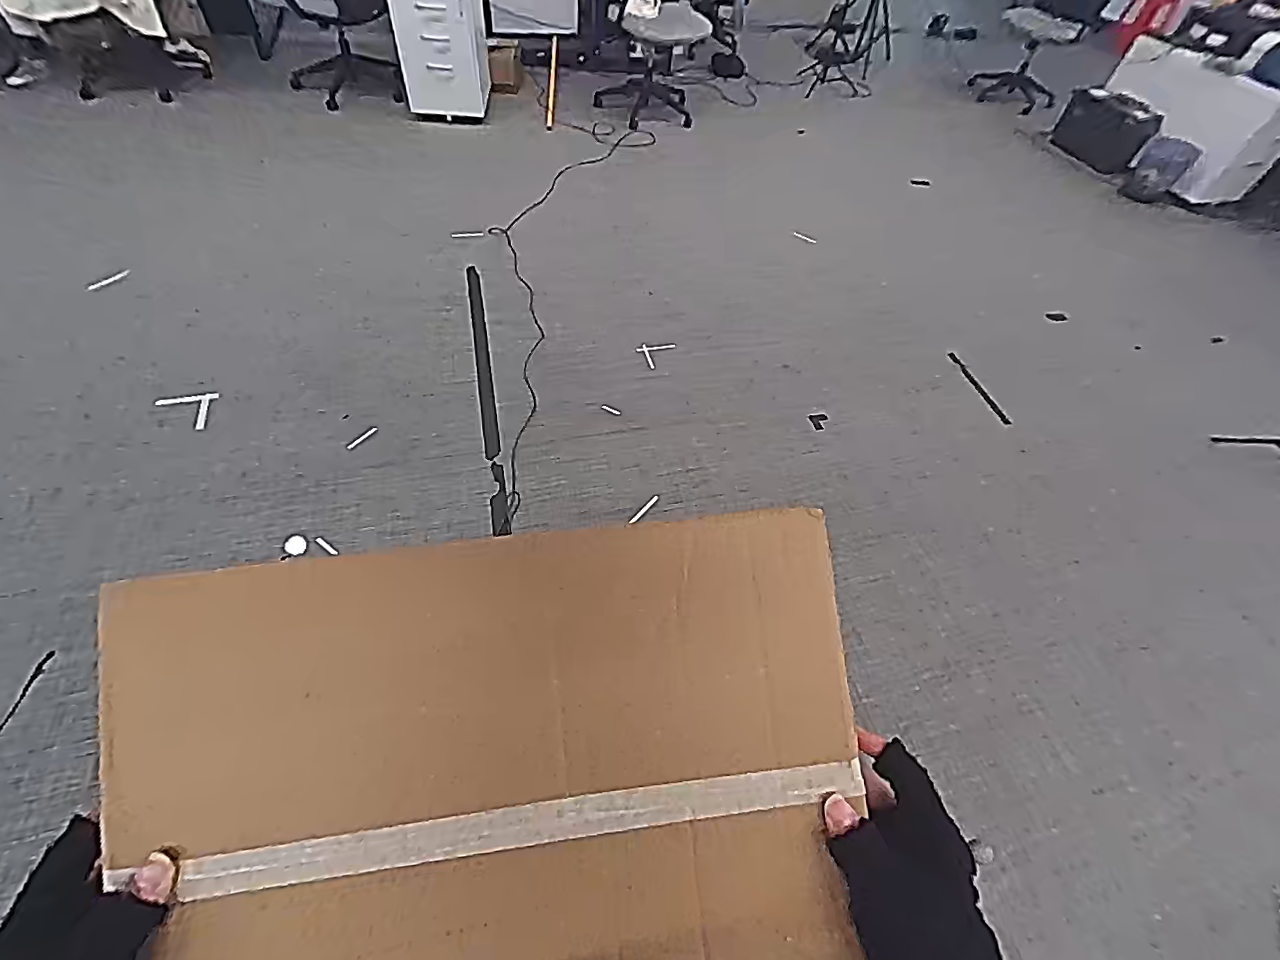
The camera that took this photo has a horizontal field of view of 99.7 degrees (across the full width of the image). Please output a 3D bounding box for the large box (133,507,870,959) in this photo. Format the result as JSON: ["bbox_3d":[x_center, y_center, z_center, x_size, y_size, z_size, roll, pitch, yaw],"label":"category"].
[{"bbox_3d":[-0.087,0.206,0.456,0.408,0.320,0.320,-6,85,-4],"label":"large box"}]
